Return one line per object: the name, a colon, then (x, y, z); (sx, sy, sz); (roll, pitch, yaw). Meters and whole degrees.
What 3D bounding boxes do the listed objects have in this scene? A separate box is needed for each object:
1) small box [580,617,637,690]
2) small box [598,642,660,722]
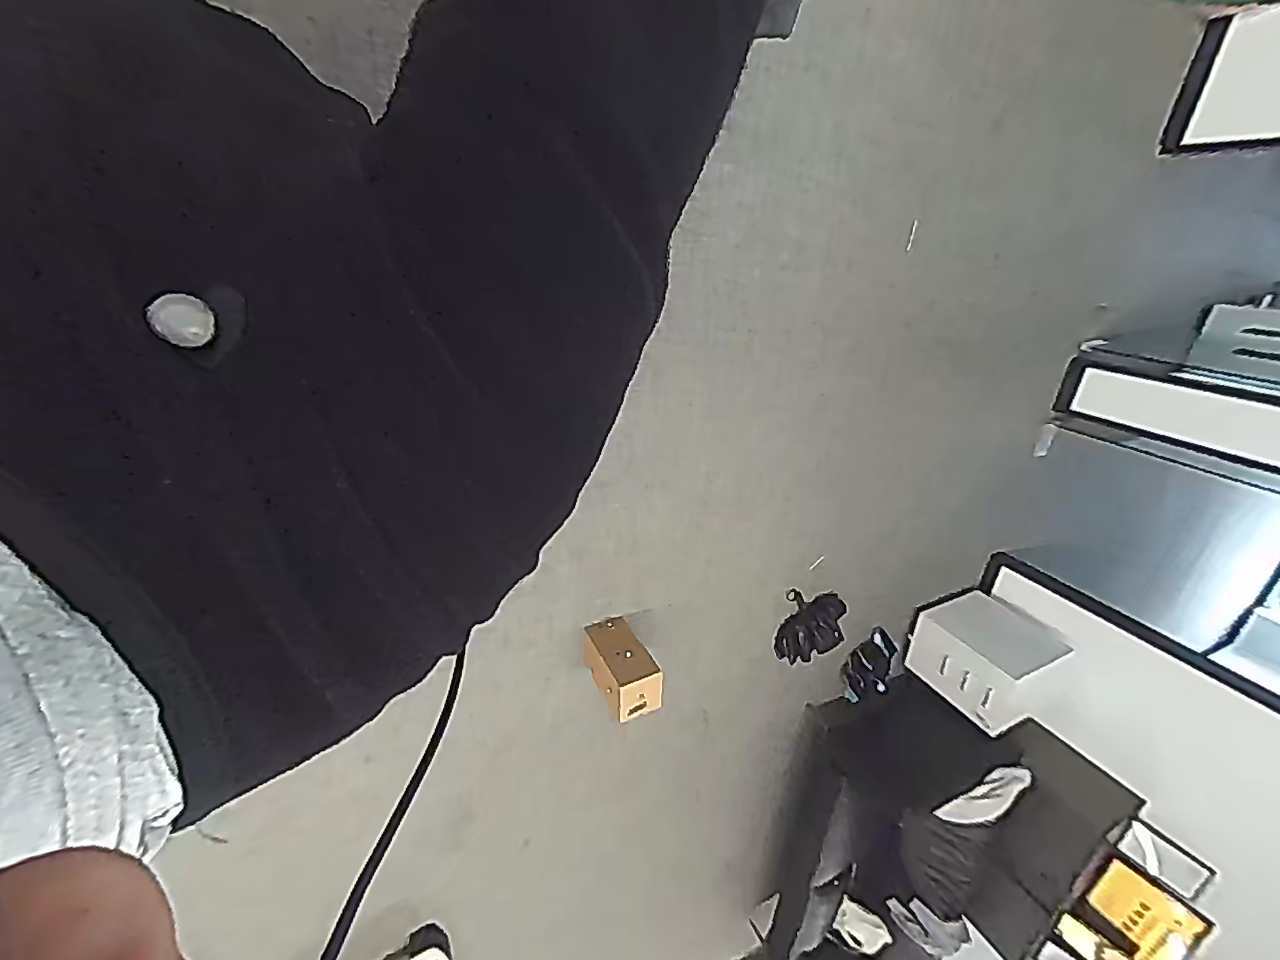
small box: (-0.122, 0.658, 2.068); (0.168, 0.176, 0.179); (-13, 118, -26)
small box: (-0.044, 0.717, 1.936); (0.168, 0.176, 0.179); (-13, 119, -26)
